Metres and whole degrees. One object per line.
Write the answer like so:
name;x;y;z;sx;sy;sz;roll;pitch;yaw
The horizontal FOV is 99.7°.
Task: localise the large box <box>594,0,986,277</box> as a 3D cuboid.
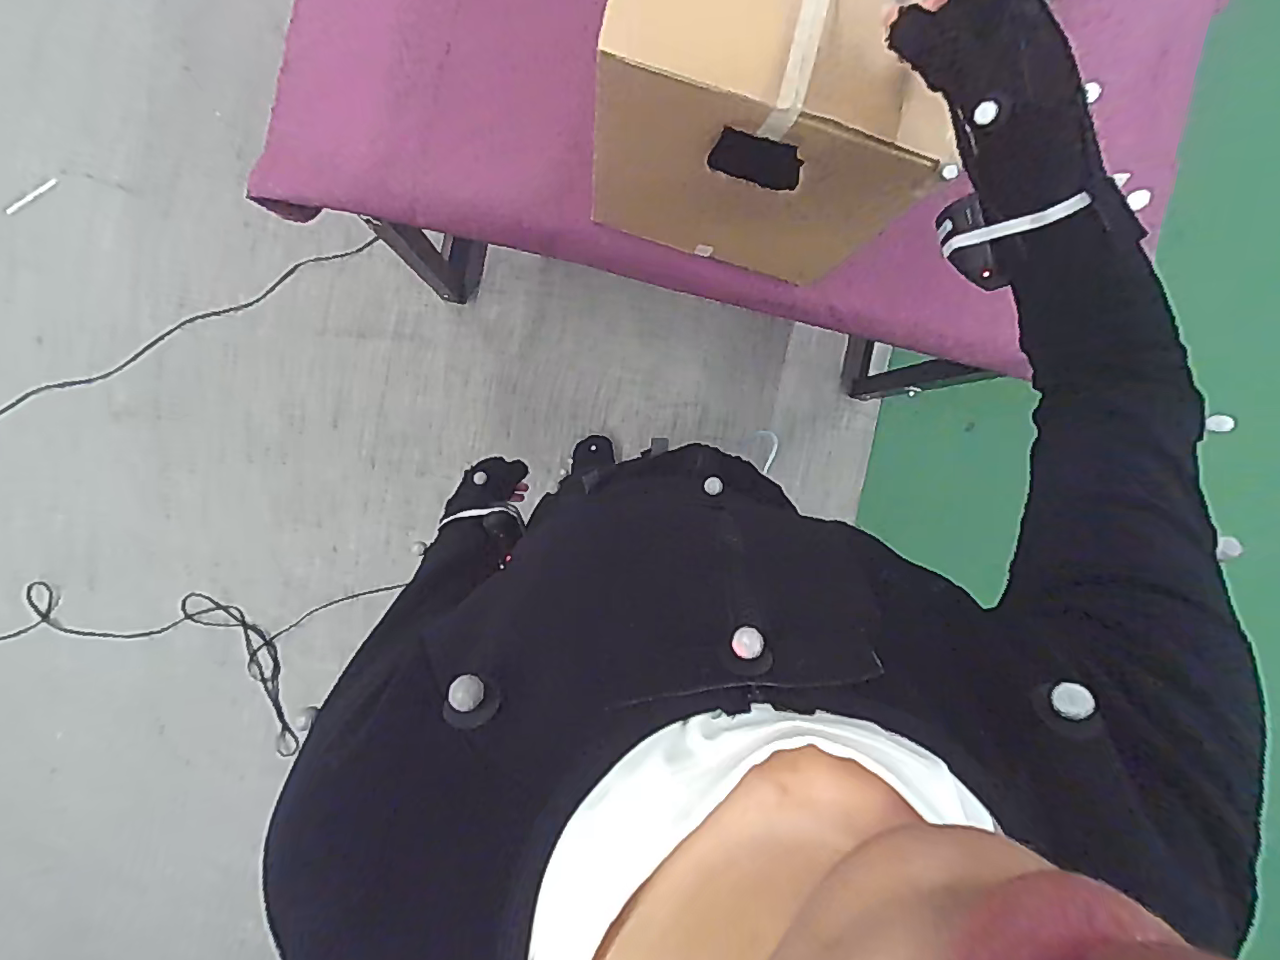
large box;0.145;-0.501;0.593;0.320;0.320;0.408;14;92;-6
